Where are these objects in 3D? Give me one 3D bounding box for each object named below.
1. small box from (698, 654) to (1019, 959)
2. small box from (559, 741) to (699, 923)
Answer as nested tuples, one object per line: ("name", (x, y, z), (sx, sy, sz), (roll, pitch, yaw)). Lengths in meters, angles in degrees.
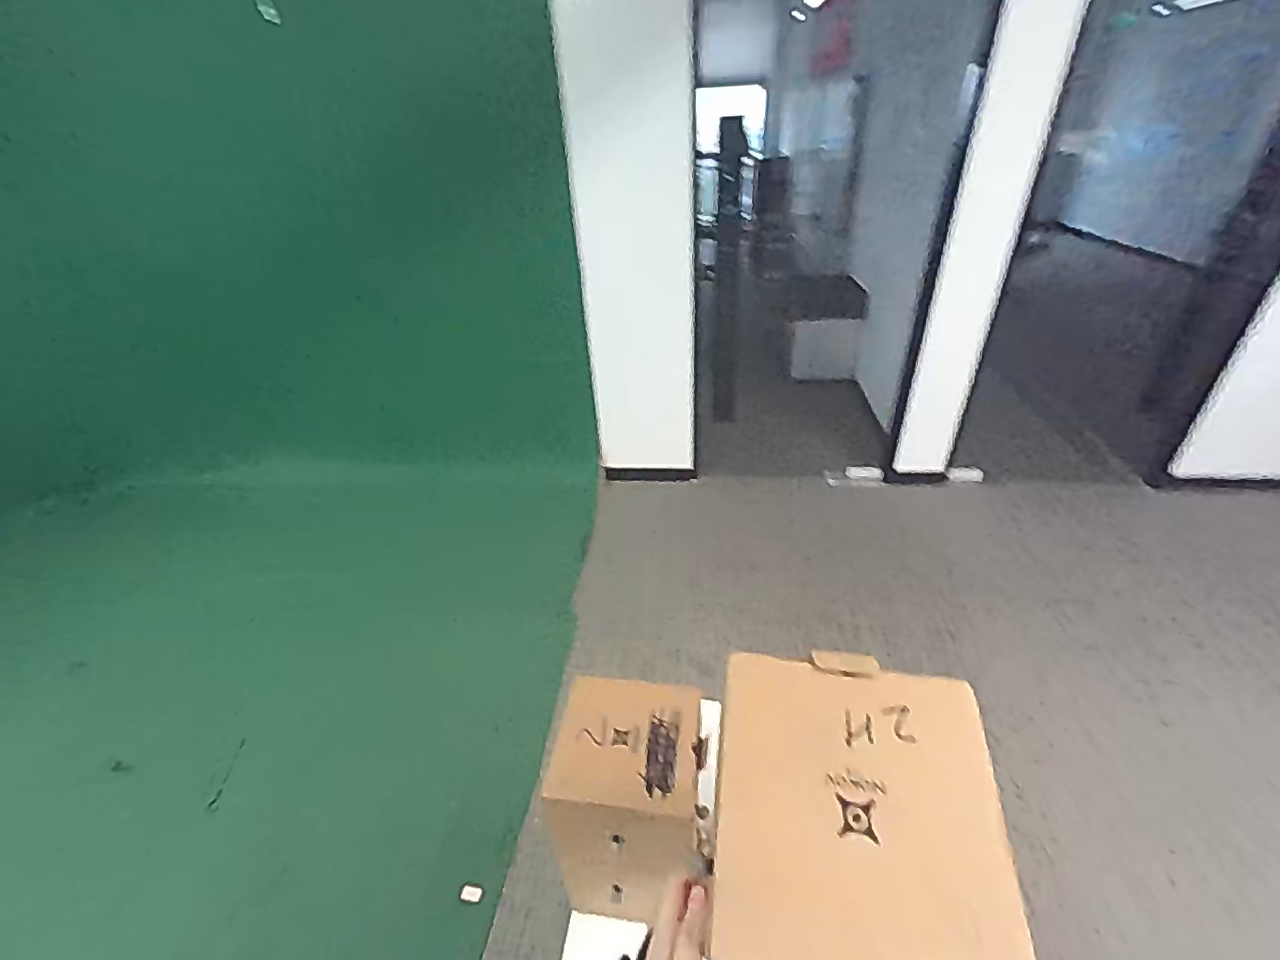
("small box", (0.132, 0.252, 0.390), (0.168, 0.176, 0.179), (6, 49, 9))
("small box", (-0.006, 0.519, 0.801), (0.179, 0.176, 0.168), (3, 34, 8))
